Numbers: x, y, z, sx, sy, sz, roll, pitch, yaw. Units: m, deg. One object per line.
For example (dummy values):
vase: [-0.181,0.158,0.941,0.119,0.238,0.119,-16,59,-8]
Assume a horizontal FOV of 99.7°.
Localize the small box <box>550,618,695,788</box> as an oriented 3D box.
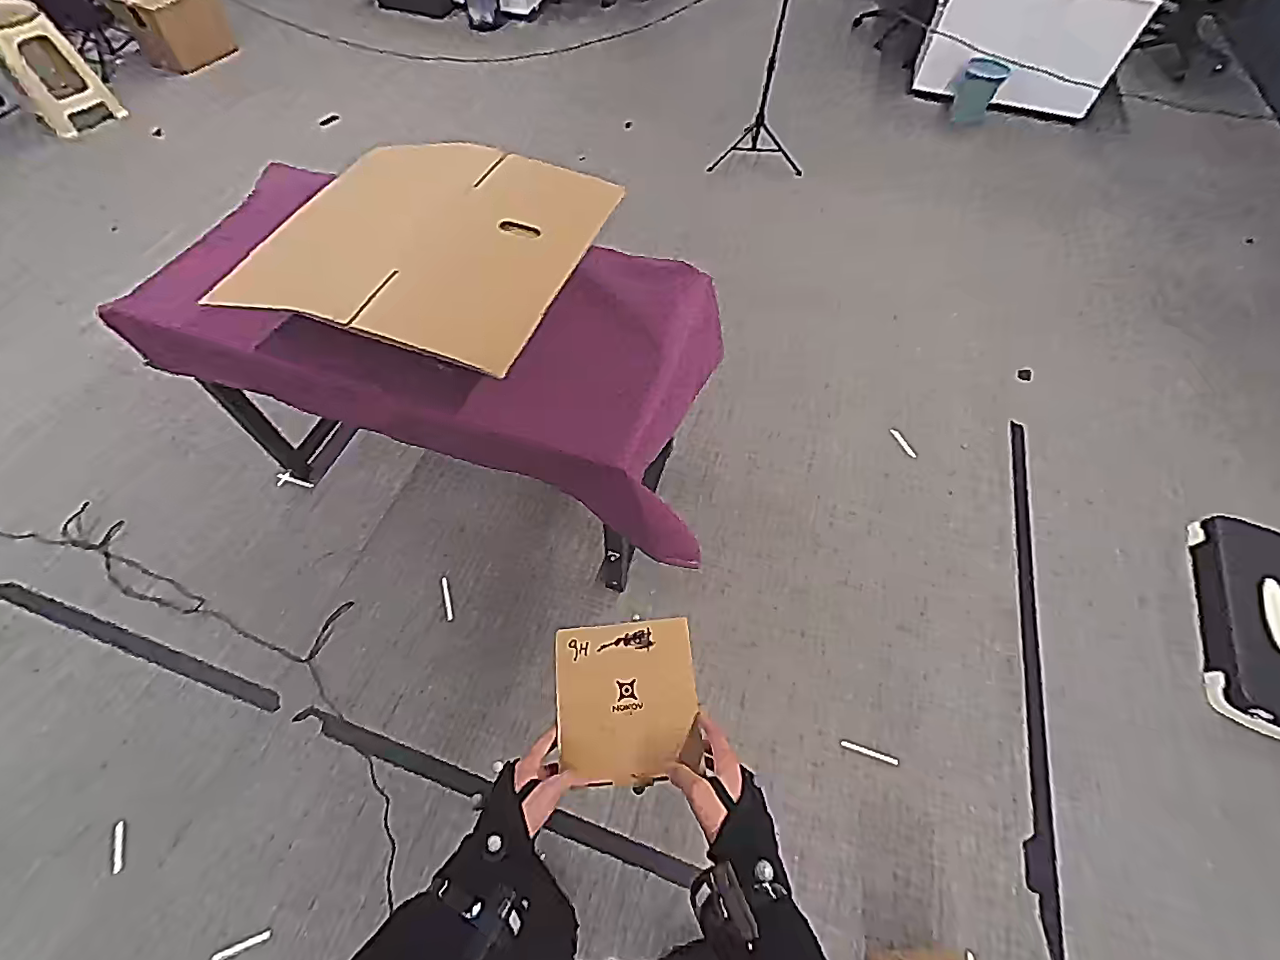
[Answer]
small box: [-0.018,0.289,0.706,0.168,0.176,0.179,-6,64,1]
